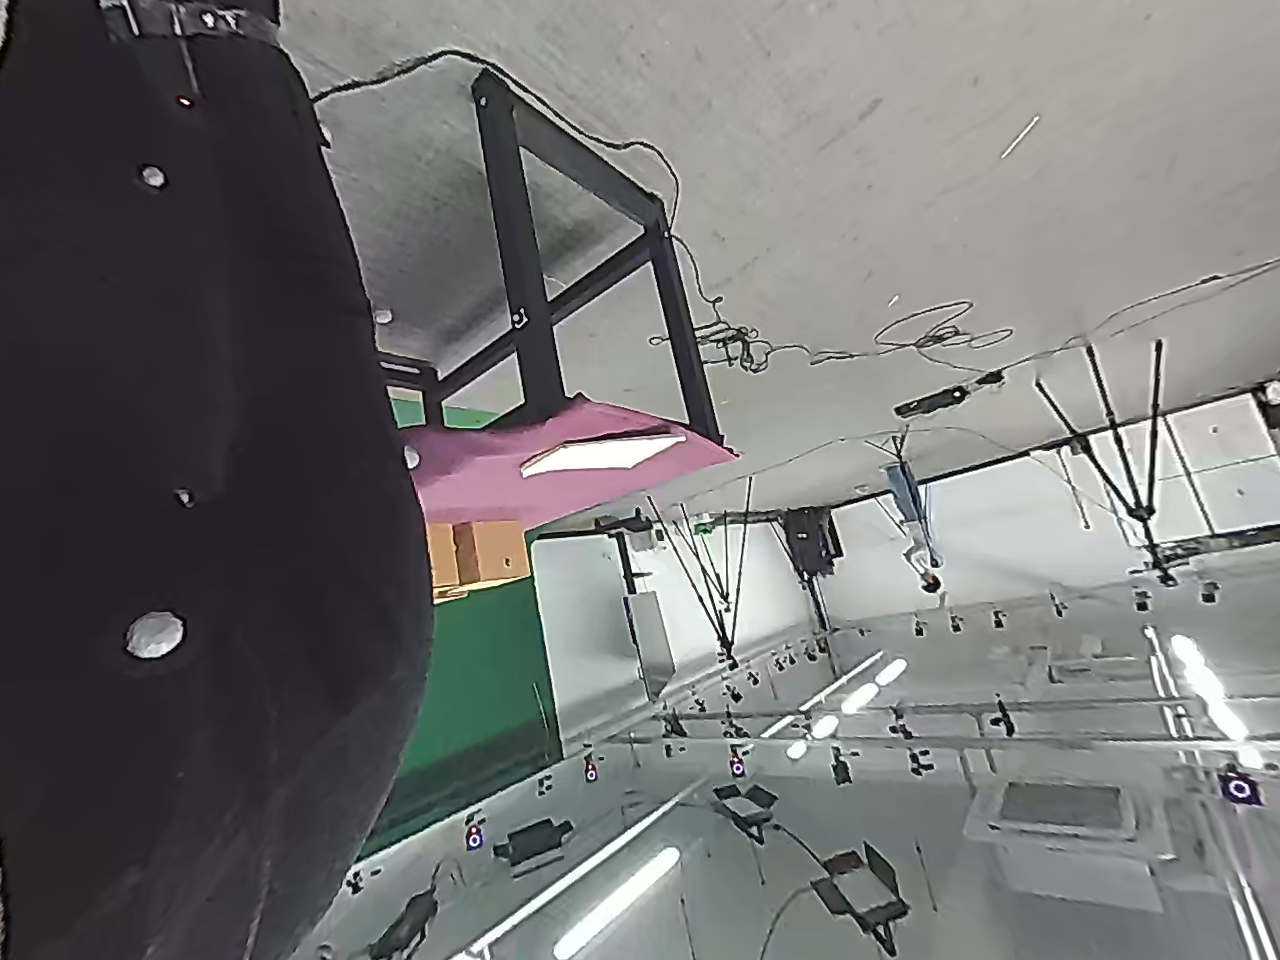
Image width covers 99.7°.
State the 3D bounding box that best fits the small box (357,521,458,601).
[{"bbox_3d":[-0.601,0.204,1.389,0.168,0.176,0.179,-20,165,32],"label":"small box"}]

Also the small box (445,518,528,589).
[{"bbox_3d":[-0.451,0.208,1.556,0.168,0.176,0.179,-20,165,35],"label":"small box"}]

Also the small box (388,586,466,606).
[{"bbox_3d":[-0.691,0.297,1.735,0.168,0.176,0.179,-20,167,30],"label":"small box"}]
